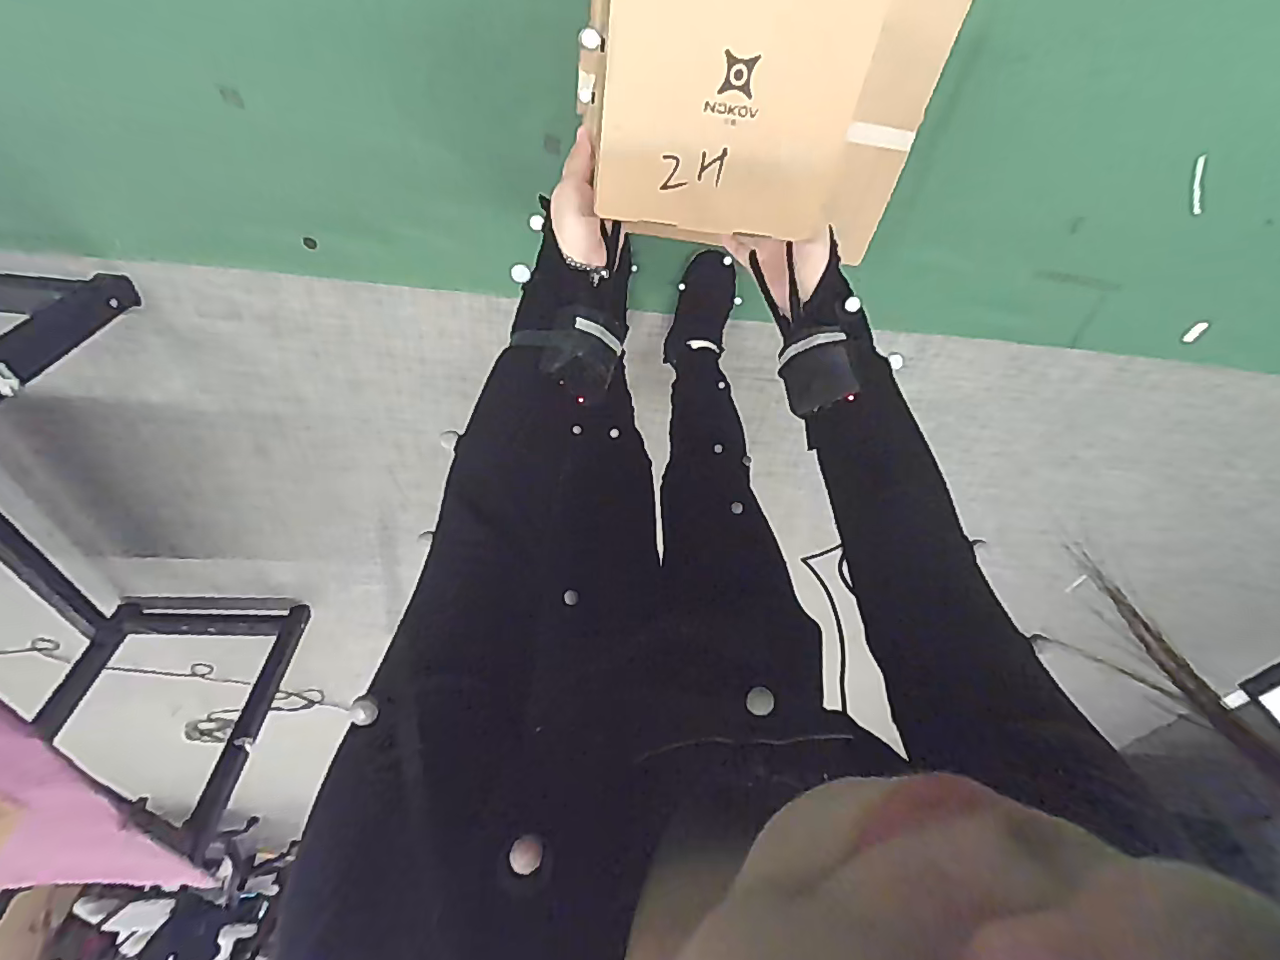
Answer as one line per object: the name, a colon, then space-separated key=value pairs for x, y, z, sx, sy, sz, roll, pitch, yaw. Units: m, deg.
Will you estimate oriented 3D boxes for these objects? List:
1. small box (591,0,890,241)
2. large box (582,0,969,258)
small box: x=0.052 y=-0.300 z=0.394 sx=0.168 sy=0.176 sz=0.179 roll=4 pitch=132 yaw=-7
large box: x=0.128 y=-0.533 z=0.739 sx=0.408 sy=0.320 sz=0.320 roll=4 pitch=133 yaw=-8
